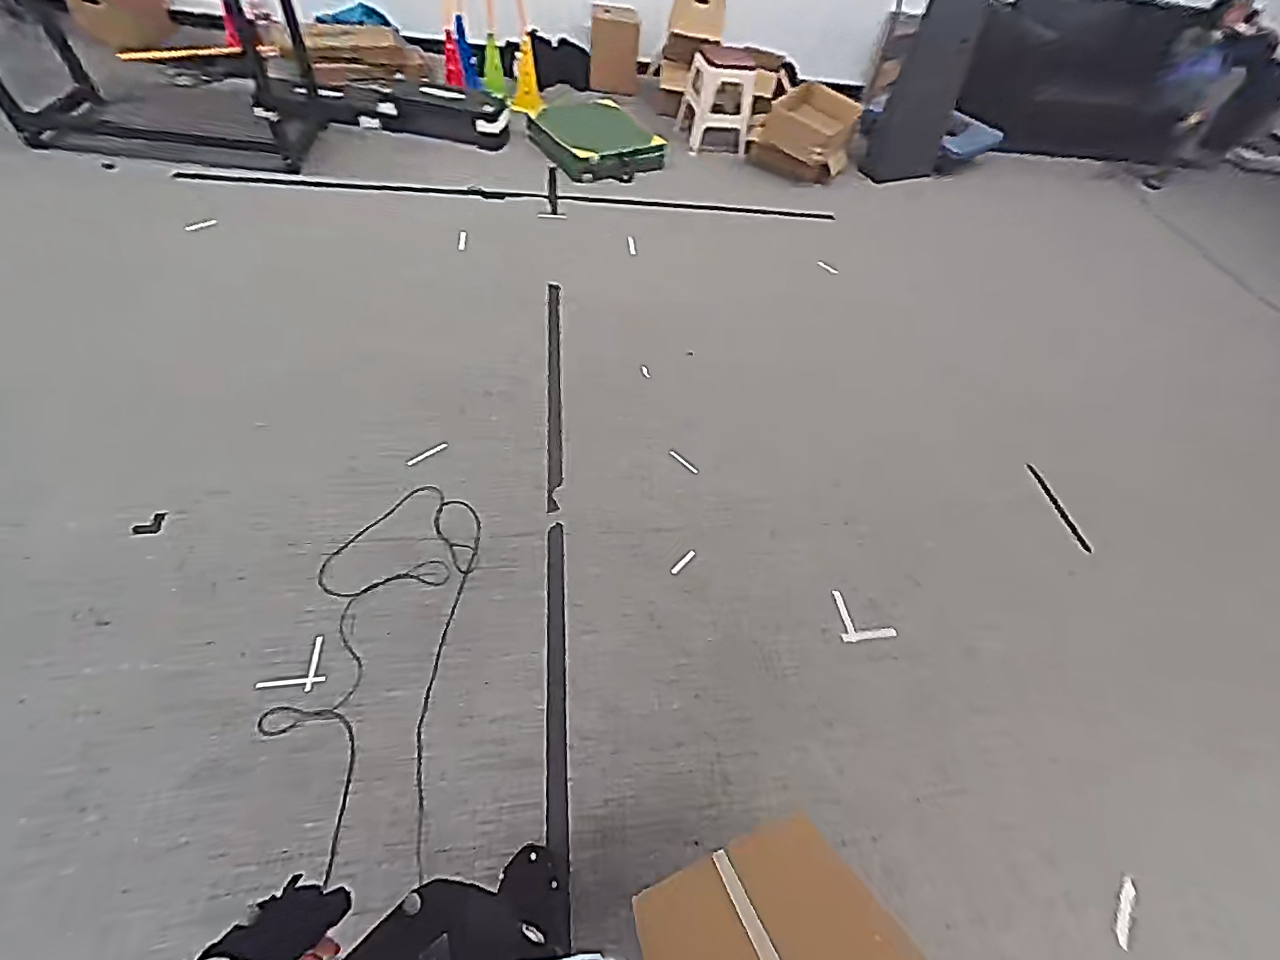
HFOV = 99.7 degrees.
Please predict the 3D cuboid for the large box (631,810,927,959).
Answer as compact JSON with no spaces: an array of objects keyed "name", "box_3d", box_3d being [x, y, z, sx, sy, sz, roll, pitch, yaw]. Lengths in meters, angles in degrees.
[{"name":"large box","box_3d":[0.215,0.736,0.691,0.320,0.408,0.320,-23,92,-11]}]
